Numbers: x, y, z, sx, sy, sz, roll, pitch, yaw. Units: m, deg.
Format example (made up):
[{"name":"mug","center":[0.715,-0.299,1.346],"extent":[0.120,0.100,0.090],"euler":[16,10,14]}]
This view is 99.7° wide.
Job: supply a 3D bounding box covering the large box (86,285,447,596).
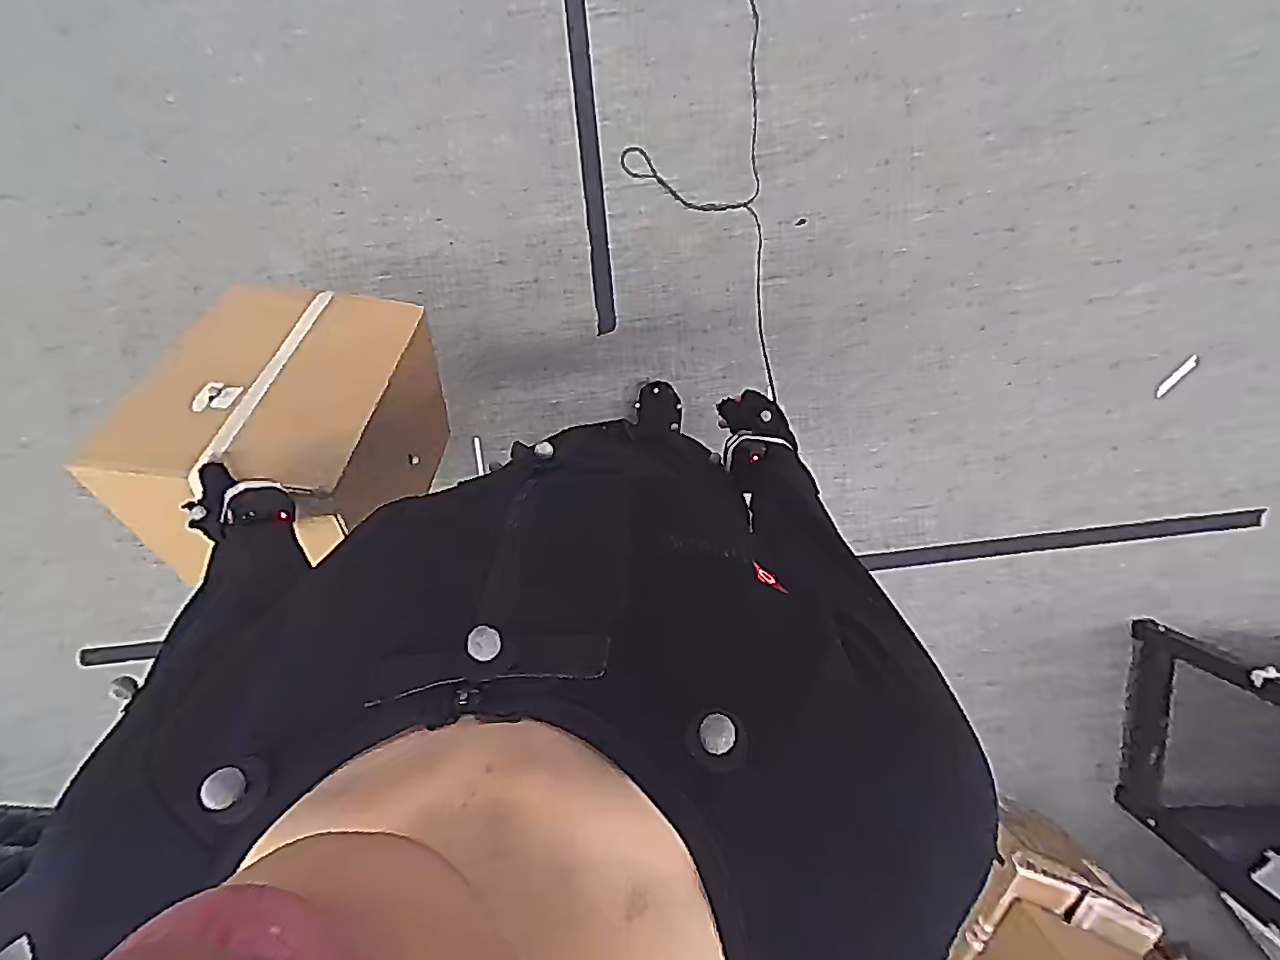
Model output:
[{"name":"large box","center":[-0.544,-0.064,0.910],"extent":[0.320,0.408,0.320],"euler":[6,142,-4]}]
